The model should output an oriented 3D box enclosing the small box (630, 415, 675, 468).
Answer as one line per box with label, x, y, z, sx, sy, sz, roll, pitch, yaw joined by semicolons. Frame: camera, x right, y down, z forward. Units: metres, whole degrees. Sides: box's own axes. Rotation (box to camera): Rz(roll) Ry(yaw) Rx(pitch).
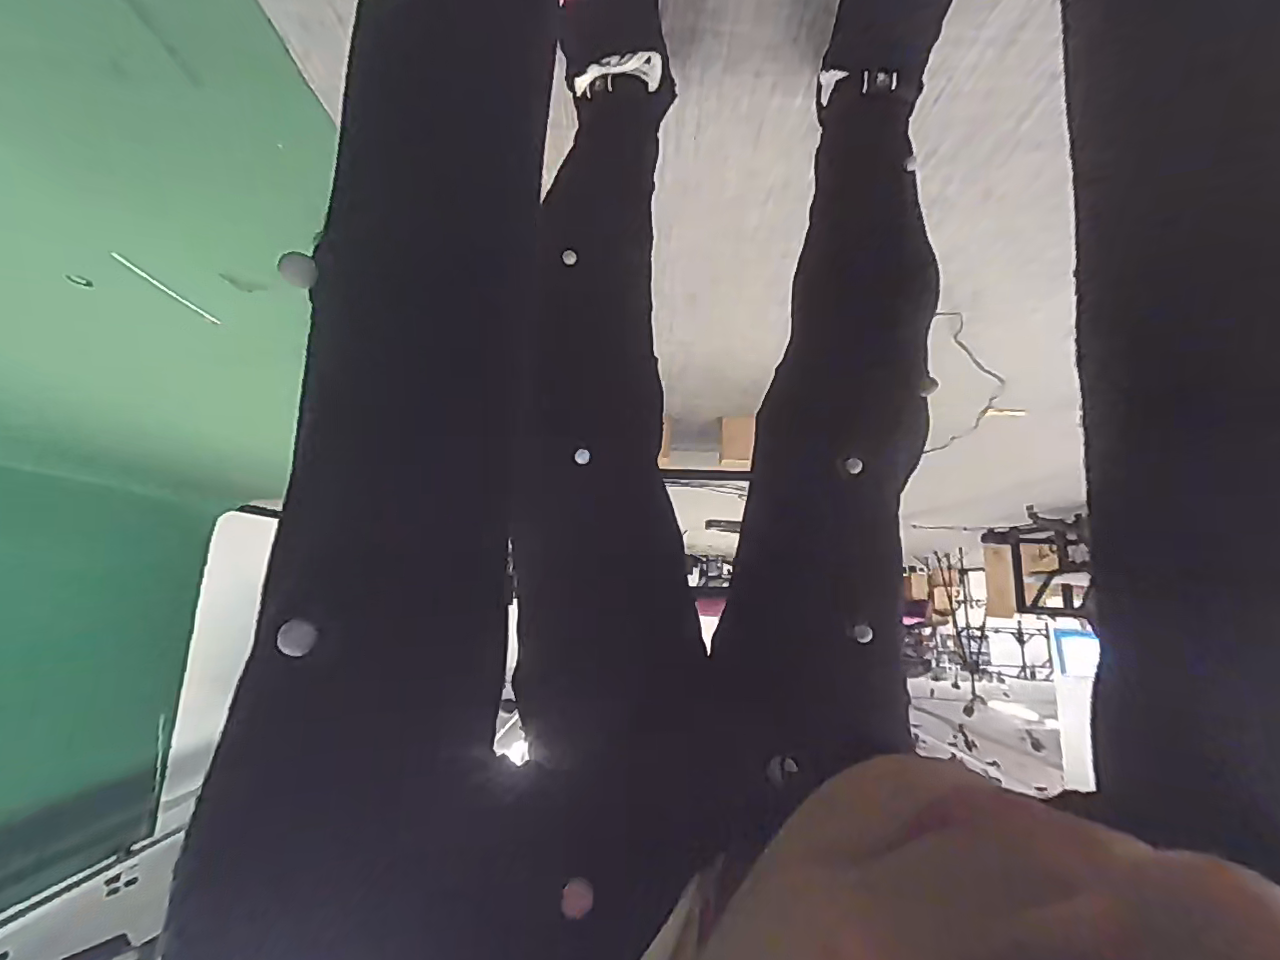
small box;0.049;-0.147;2.092;0.168;0.176;0.179;2;169;4
